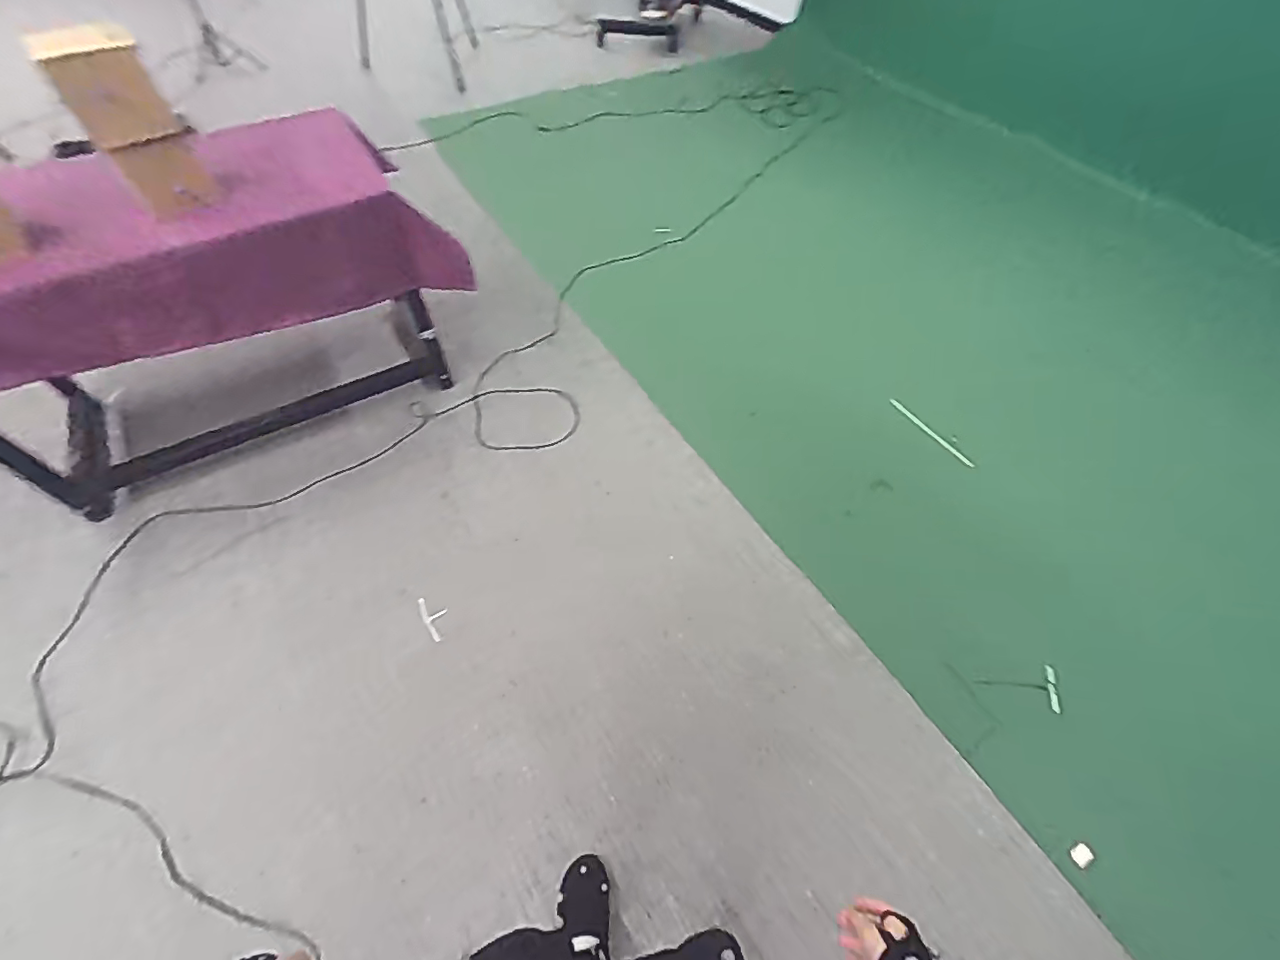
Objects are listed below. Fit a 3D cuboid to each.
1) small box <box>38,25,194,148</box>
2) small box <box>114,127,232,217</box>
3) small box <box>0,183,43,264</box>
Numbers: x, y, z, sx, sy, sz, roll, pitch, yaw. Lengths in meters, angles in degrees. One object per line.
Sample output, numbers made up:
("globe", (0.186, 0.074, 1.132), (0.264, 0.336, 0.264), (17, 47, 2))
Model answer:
("small box", (-1.158, -0.872, 1.204), (0.179, 0.176, 0.168), (-33, 62, -22))
("small box", (-1.175, -0.789, 1.346), (0.168, 0.176, 0.179), (-38, 64, -24))
("small box", (-1.497, -0.590, 1.201), (0.168, 0.176, 0.179), (-32, 61, -22))
